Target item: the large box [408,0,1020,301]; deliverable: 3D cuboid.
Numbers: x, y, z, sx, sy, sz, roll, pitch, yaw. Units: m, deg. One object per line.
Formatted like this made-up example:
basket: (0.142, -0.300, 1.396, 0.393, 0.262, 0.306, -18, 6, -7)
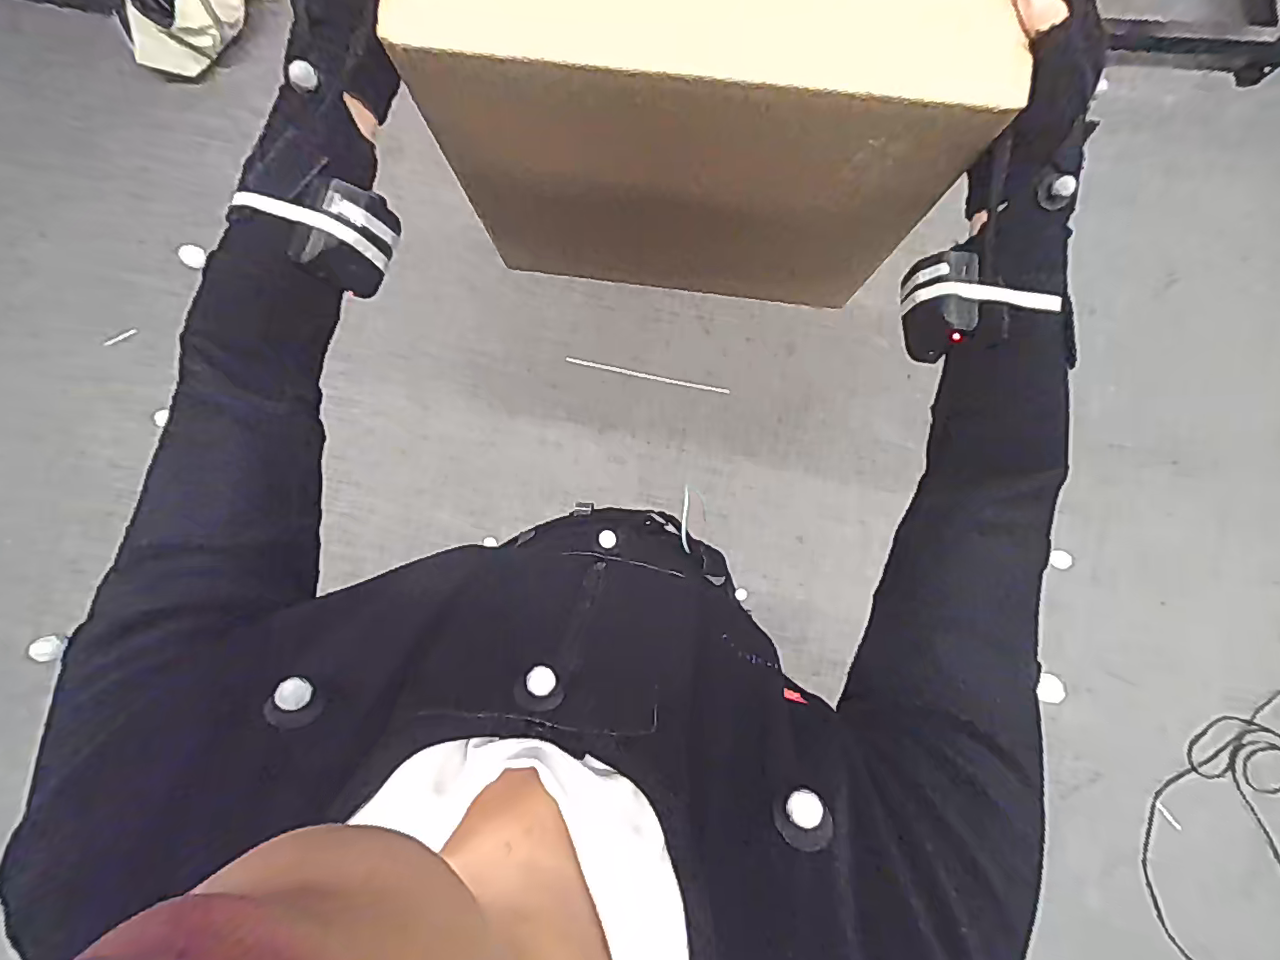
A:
large box: (0.058, -0.393, 0.510, 0.408, 0.320, 0.320, 7, 86, 0)
